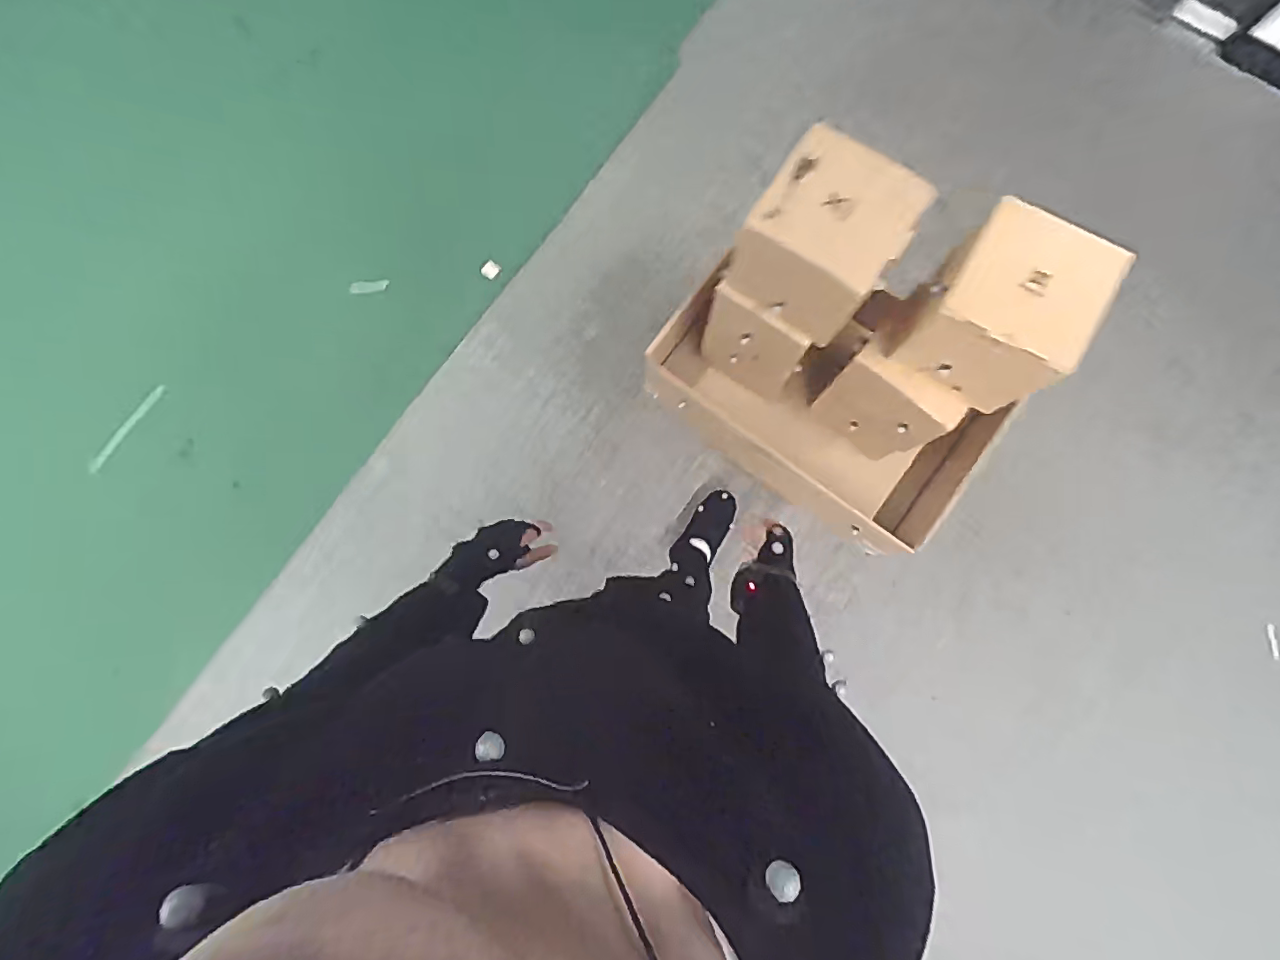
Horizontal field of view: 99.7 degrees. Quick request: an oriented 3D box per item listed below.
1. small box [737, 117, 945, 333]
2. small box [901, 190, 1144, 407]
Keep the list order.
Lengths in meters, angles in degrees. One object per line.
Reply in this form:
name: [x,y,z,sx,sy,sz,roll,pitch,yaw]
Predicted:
small box: [0.253,-0.323,0.727,0.179,0.176,0.168,35,85,6]
small box: [0.480,-0.223,0.709,0.168,0.176,0.179,31,84,7]
